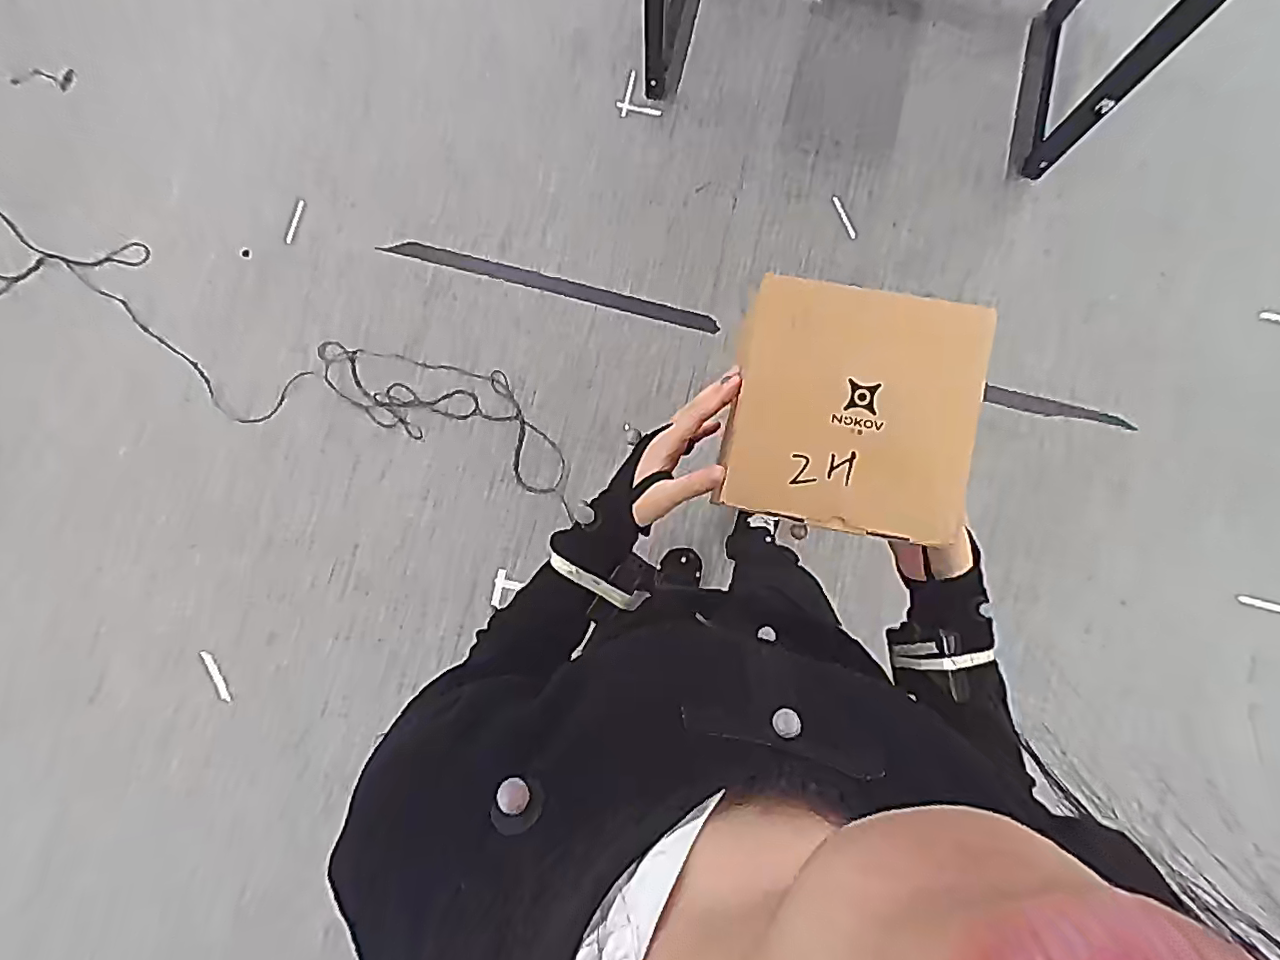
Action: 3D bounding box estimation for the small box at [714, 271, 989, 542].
[{"bbox_3d":[0.163,-0.052,0.473,0.168,0.176,0.179,11,89,5],"label":"small box"}]

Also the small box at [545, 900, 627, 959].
[{"bbox_3d":[-0.139,1.179,1.317,0.179,0.176,0.168,19,84,2],"label":"small box"}]
